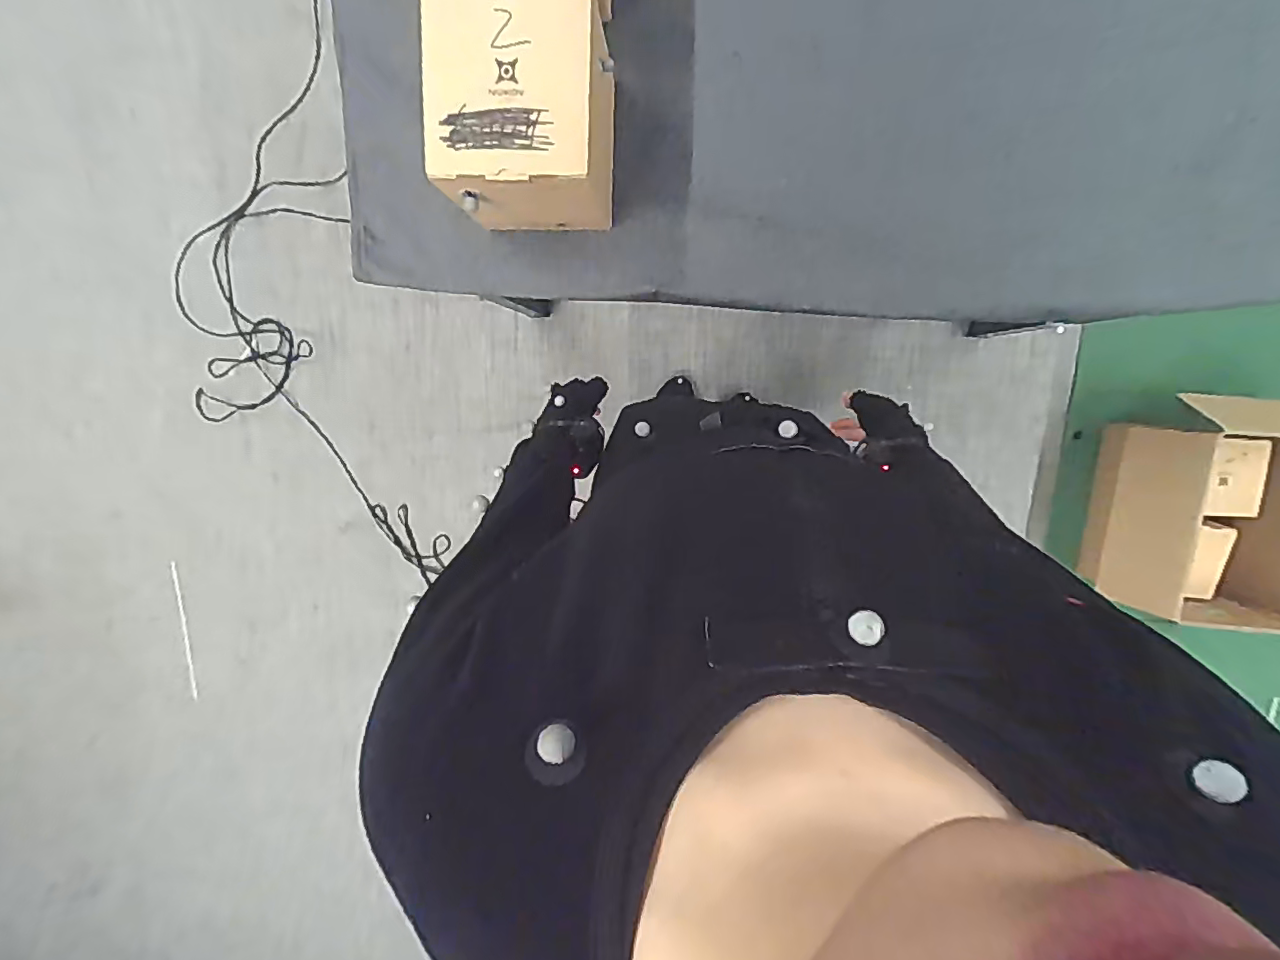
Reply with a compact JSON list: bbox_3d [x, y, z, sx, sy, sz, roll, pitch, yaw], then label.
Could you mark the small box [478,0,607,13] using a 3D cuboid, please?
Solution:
[{"bbox_3d":[-0.122,-0.625,0.556,0.168,0.176,0.179,2,100,4],"label":"small box"}]
